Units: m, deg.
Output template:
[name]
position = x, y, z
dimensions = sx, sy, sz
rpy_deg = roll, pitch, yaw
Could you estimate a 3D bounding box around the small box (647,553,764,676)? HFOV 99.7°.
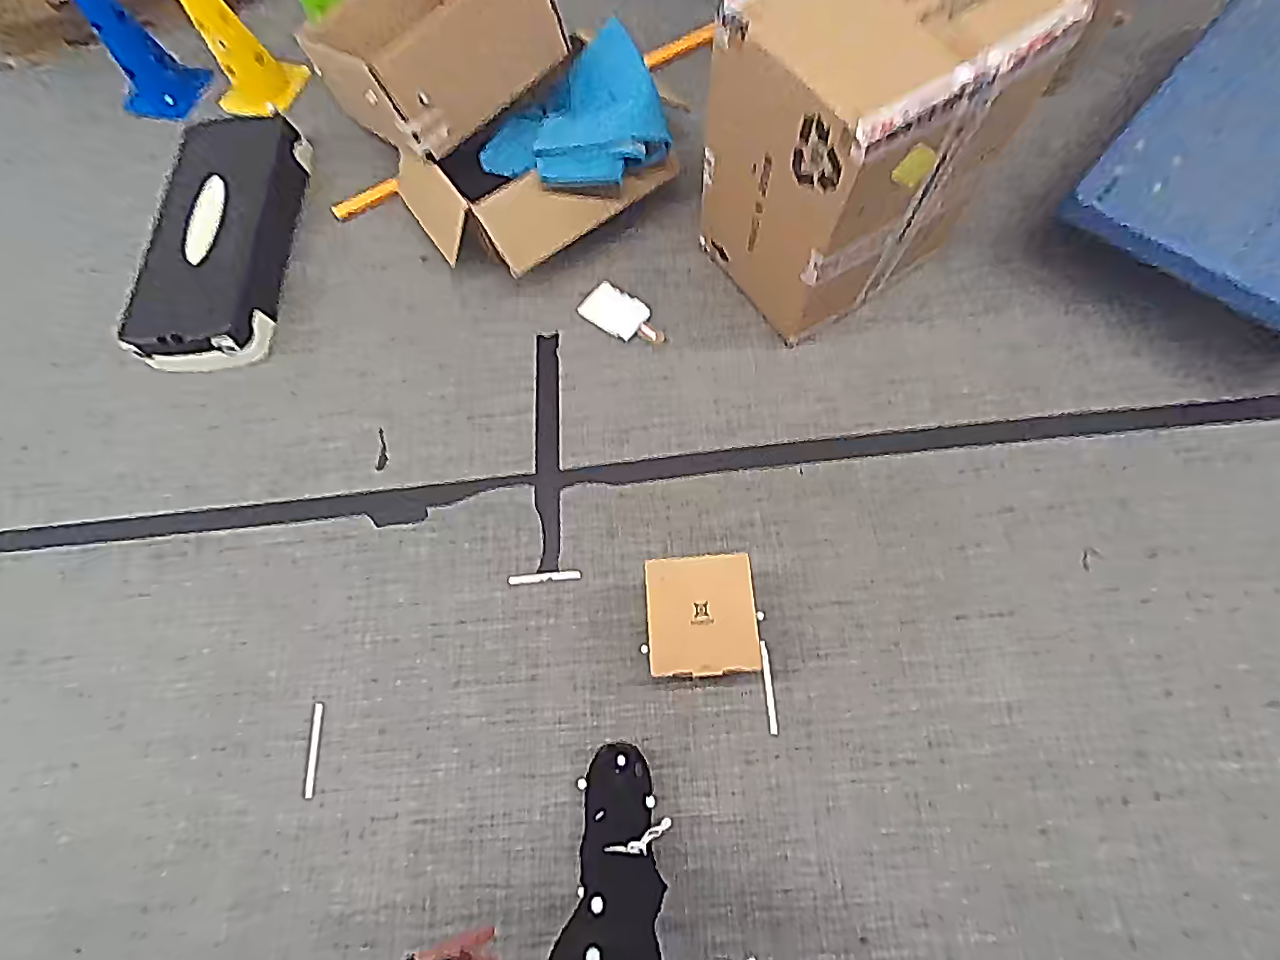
[small box]
position = 0.099, 0.228, 0.893
dimensions = 0.168, 0.176, 0.179
rpy_deg = -5, 71, 2
